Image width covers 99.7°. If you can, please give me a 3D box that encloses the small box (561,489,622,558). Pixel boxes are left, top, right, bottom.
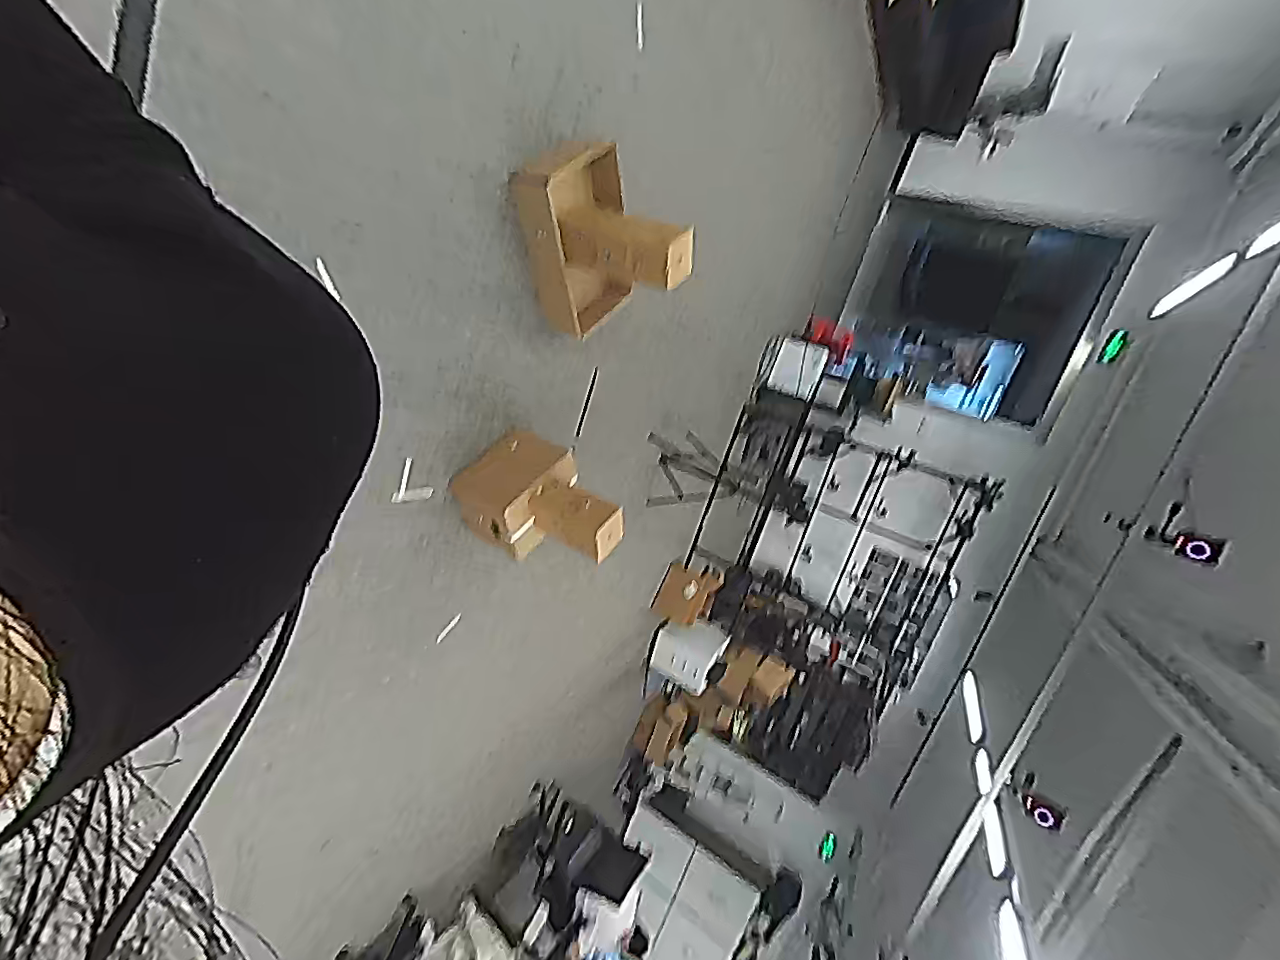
[{"bbox_3d":[-0.187,0.165,2.095,0.168,0.176,0.179,-47,148,-37],"label":"small box"}]

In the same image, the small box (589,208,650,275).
[{"bbox_3d":[-0.077,-0.888,2.007,0.179,0.176,0.168,-49,151,-34],"label":"small box"}]

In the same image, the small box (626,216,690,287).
[{"bbox_3d":[0.065,-0.829,1.950,0.179,0.176,0.168,-50,152,-33],"label":"small box"}]

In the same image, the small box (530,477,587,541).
[{"bbox_3d":[-0.320,0.106,2.167,0.168,0.176,0.179,-47,150,-34],"label":"small box"}]
